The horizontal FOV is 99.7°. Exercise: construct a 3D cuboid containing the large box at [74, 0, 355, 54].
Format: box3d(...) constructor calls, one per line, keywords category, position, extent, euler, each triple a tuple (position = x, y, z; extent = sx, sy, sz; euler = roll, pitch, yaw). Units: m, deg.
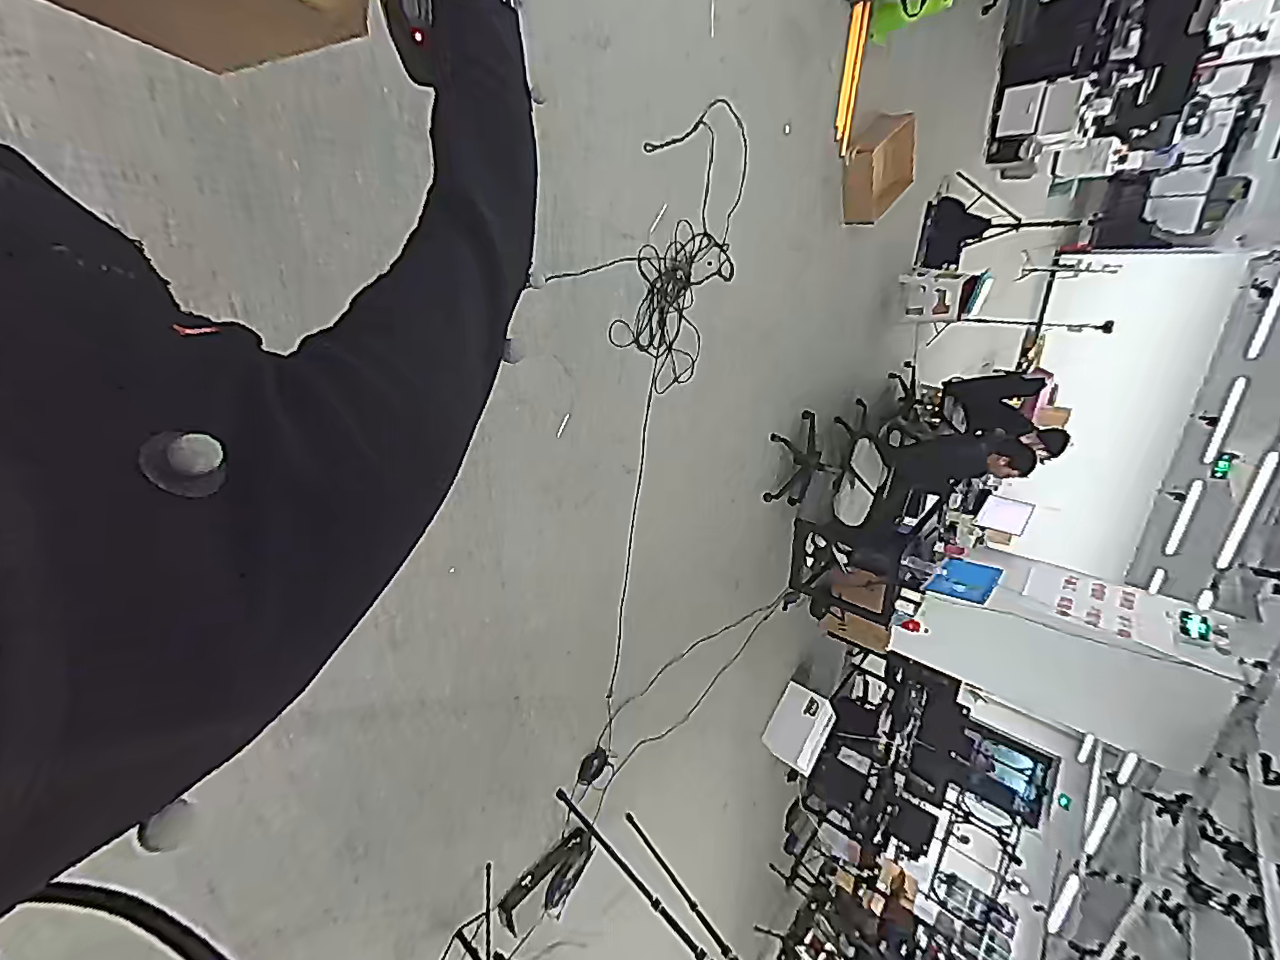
box3d(category="large box", position=(-0.412, -0.509, 0.282), extent=(0.408, 0.320, 0.320), euler=(-8, 114, -53))
